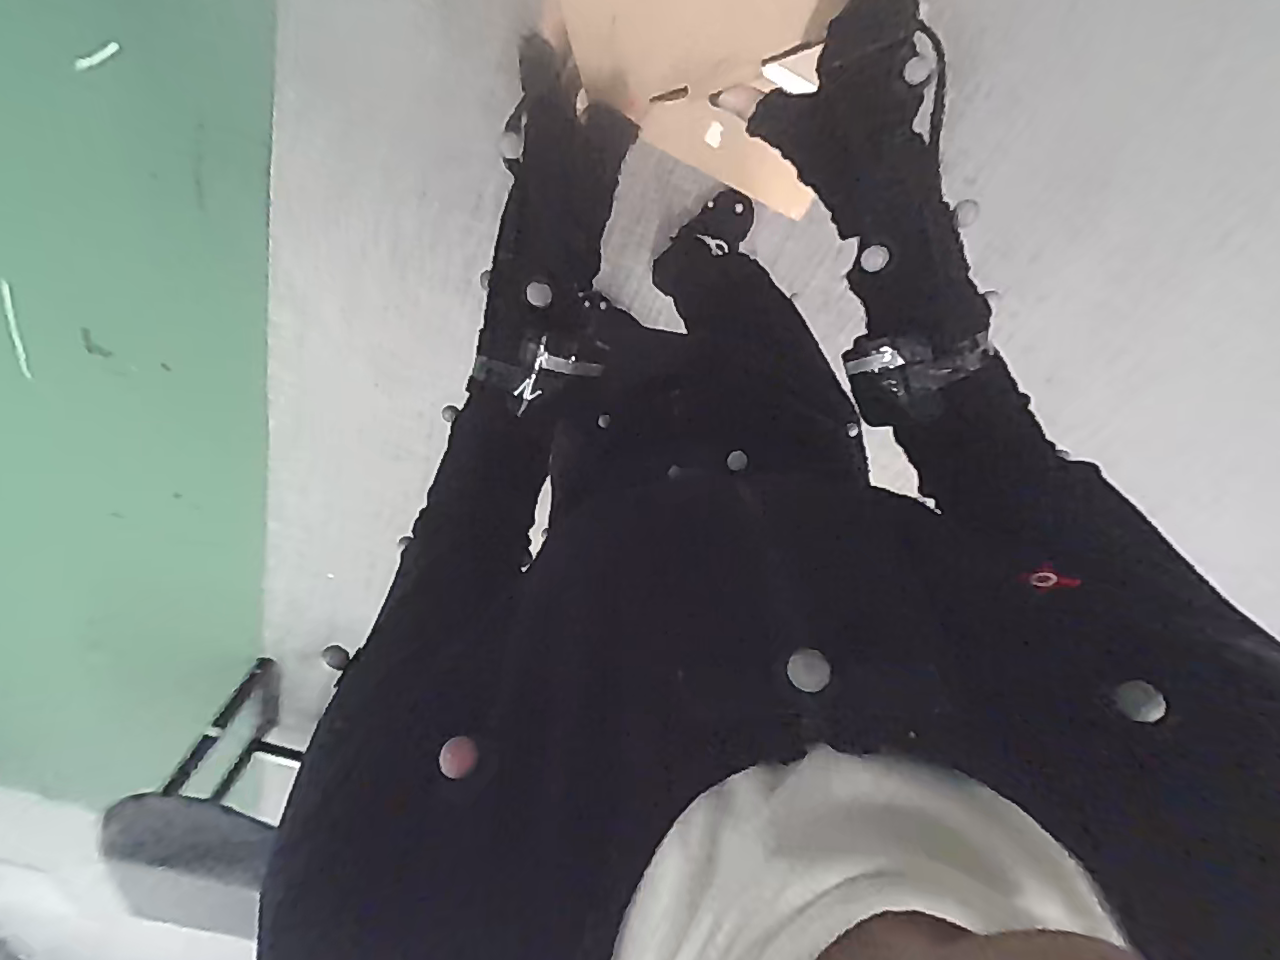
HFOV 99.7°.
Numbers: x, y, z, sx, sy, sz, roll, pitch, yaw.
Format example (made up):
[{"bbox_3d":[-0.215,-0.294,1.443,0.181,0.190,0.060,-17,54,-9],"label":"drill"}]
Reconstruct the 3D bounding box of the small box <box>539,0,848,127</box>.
[{"bbox_3d":[0.020,-0.350,0.330,0.168,0.176,0.179,-12,126,14],"label":"small box"}]
